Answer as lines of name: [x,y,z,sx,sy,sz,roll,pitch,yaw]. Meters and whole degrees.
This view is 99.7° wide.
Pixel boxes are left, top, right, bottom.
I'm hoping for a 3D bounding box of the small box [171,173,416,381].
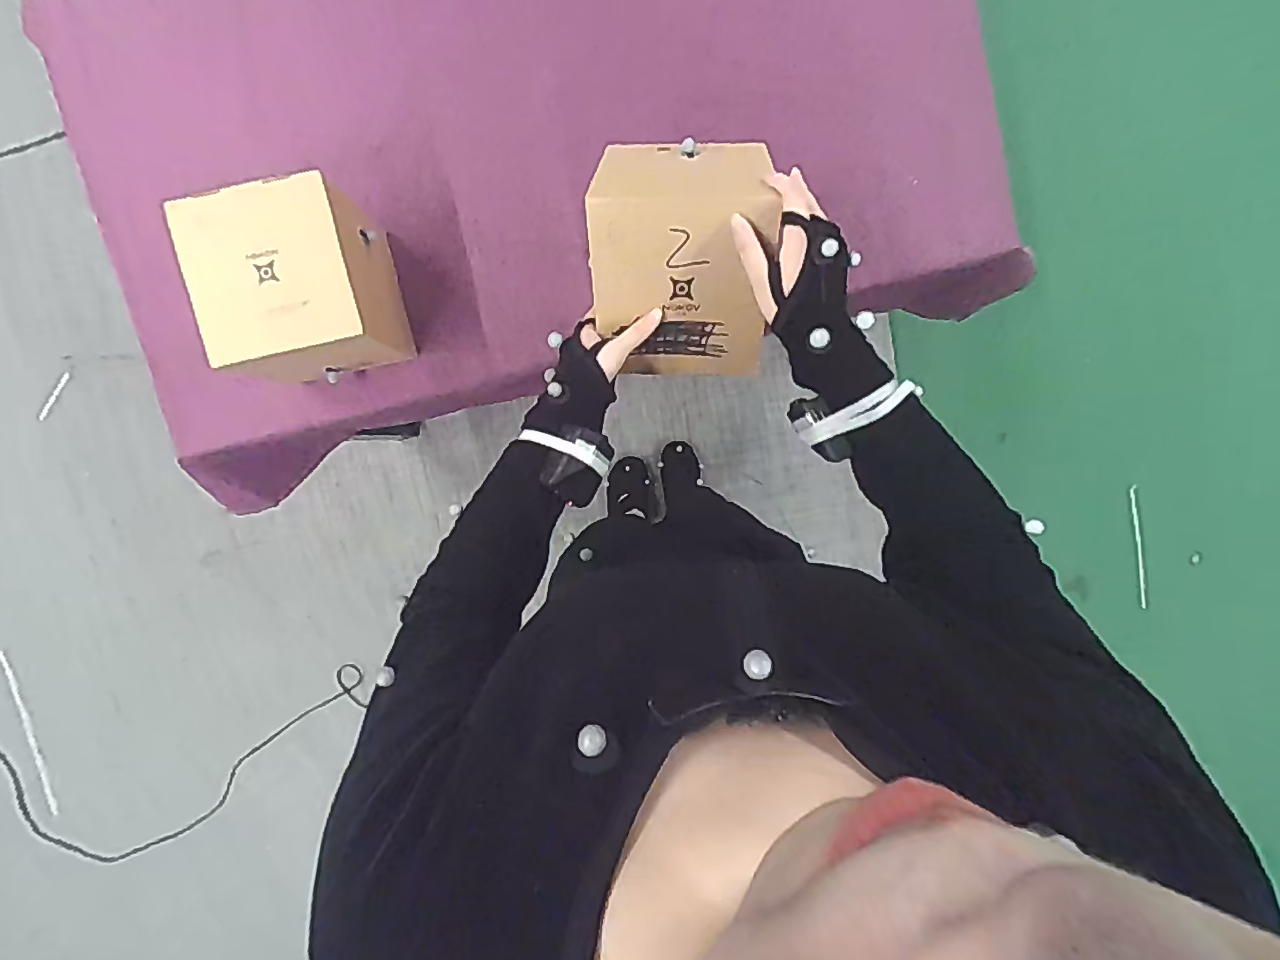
small box: [-0.395,-0.228,0.651,0.168,0.176,0.179,-13,95,-1]
